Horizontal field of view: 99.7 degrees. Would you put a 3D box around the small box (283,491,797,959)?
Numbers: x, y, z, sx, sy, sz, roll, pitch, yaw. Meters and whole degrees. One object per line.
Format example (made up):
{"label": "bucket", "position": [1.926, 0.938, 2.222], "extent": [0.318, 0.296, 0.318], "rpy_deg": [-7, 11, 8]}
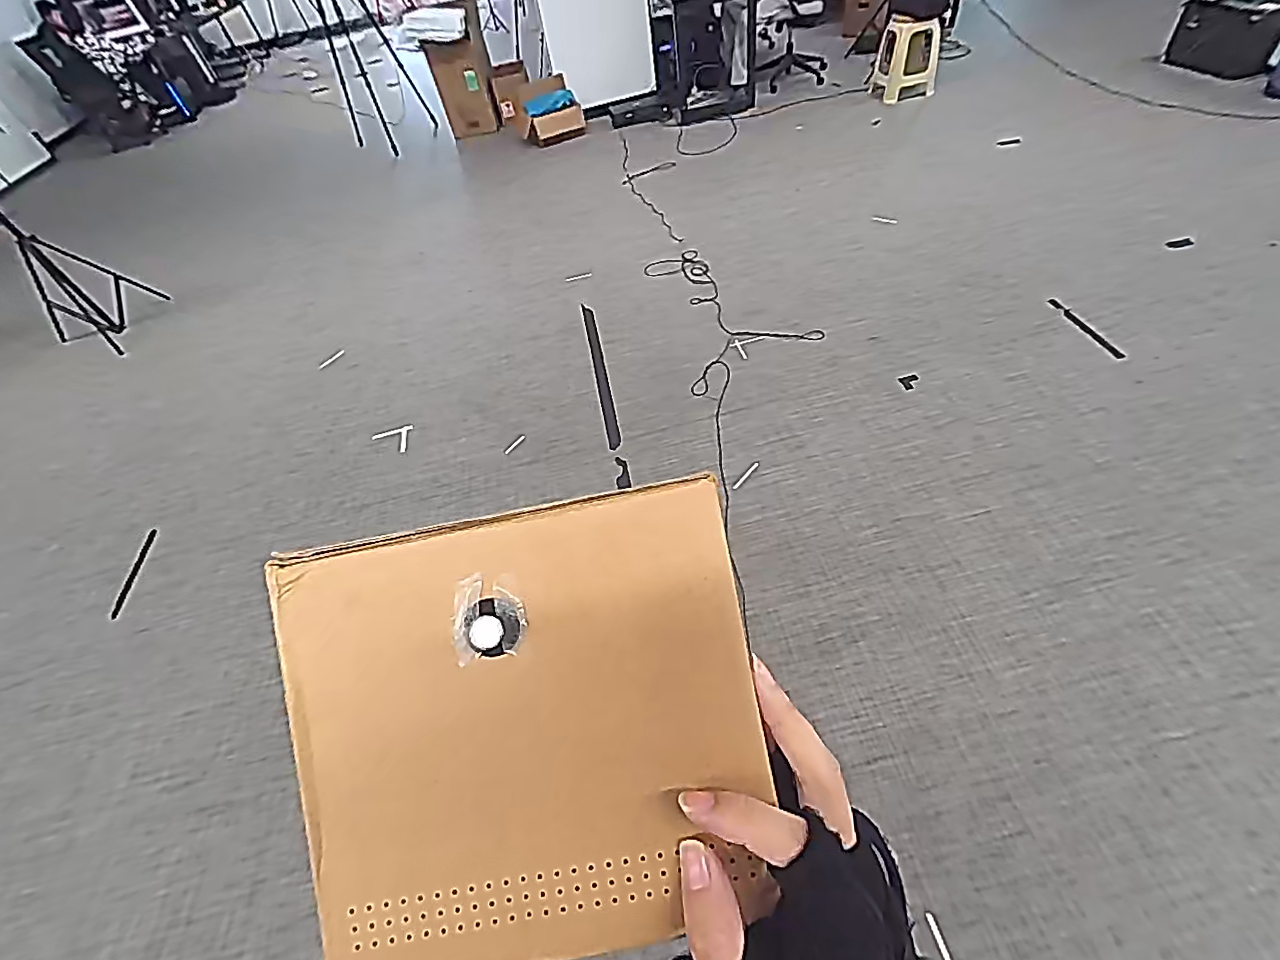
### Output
{"label": "small box", "position": [-0.037, 0.106, 0.281], "extent": [0.179, 0.168, 0.176], "rpy_deg": [-11, 88, 1]}
